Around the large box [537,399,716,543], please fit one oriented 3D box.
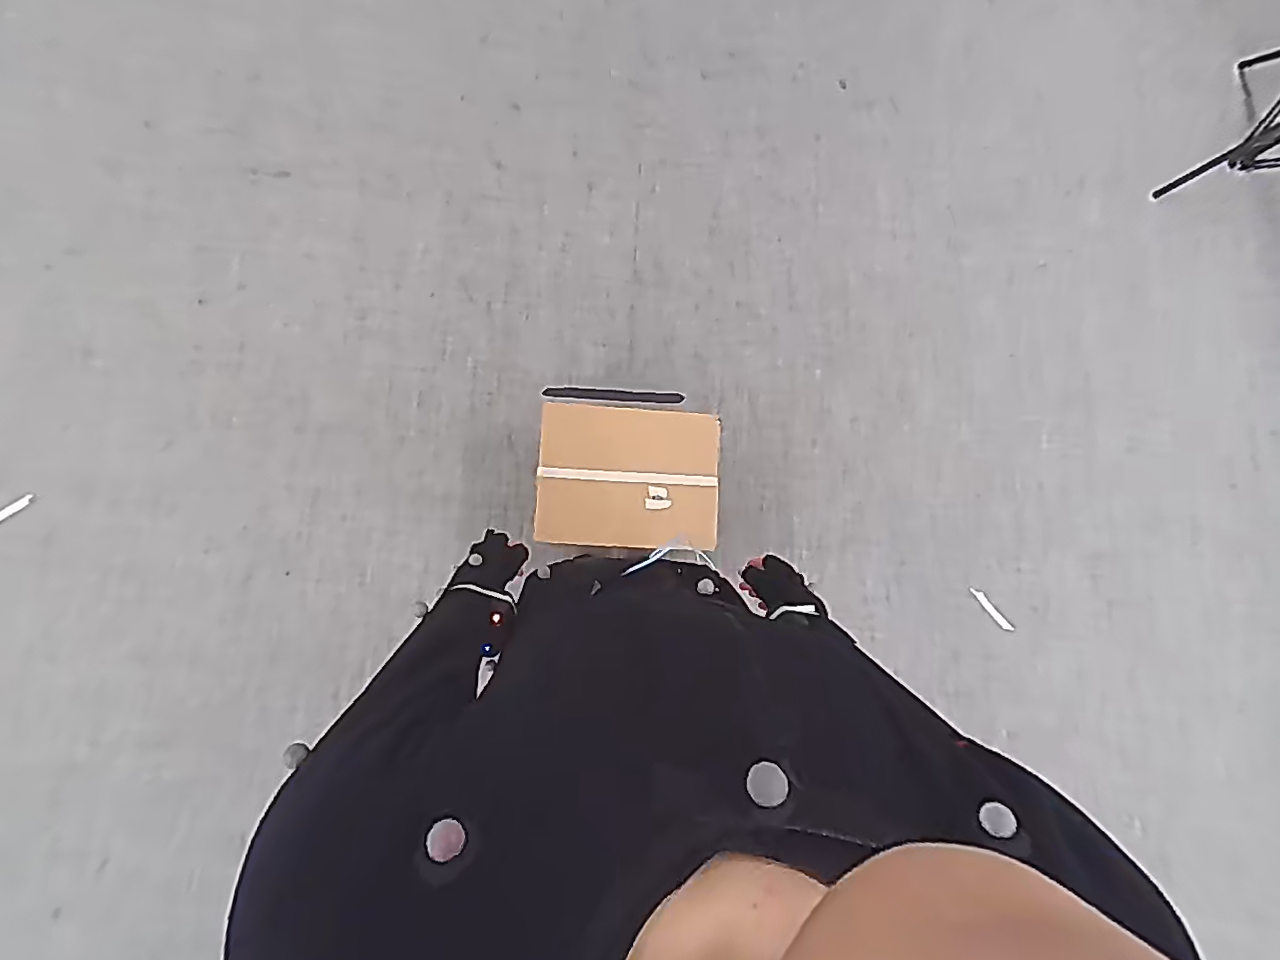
[{"bbox_3d":[-0.043,-0.004,1.366,0.408,0.320,0.320,4,84,-6],"label":"large box"}]
